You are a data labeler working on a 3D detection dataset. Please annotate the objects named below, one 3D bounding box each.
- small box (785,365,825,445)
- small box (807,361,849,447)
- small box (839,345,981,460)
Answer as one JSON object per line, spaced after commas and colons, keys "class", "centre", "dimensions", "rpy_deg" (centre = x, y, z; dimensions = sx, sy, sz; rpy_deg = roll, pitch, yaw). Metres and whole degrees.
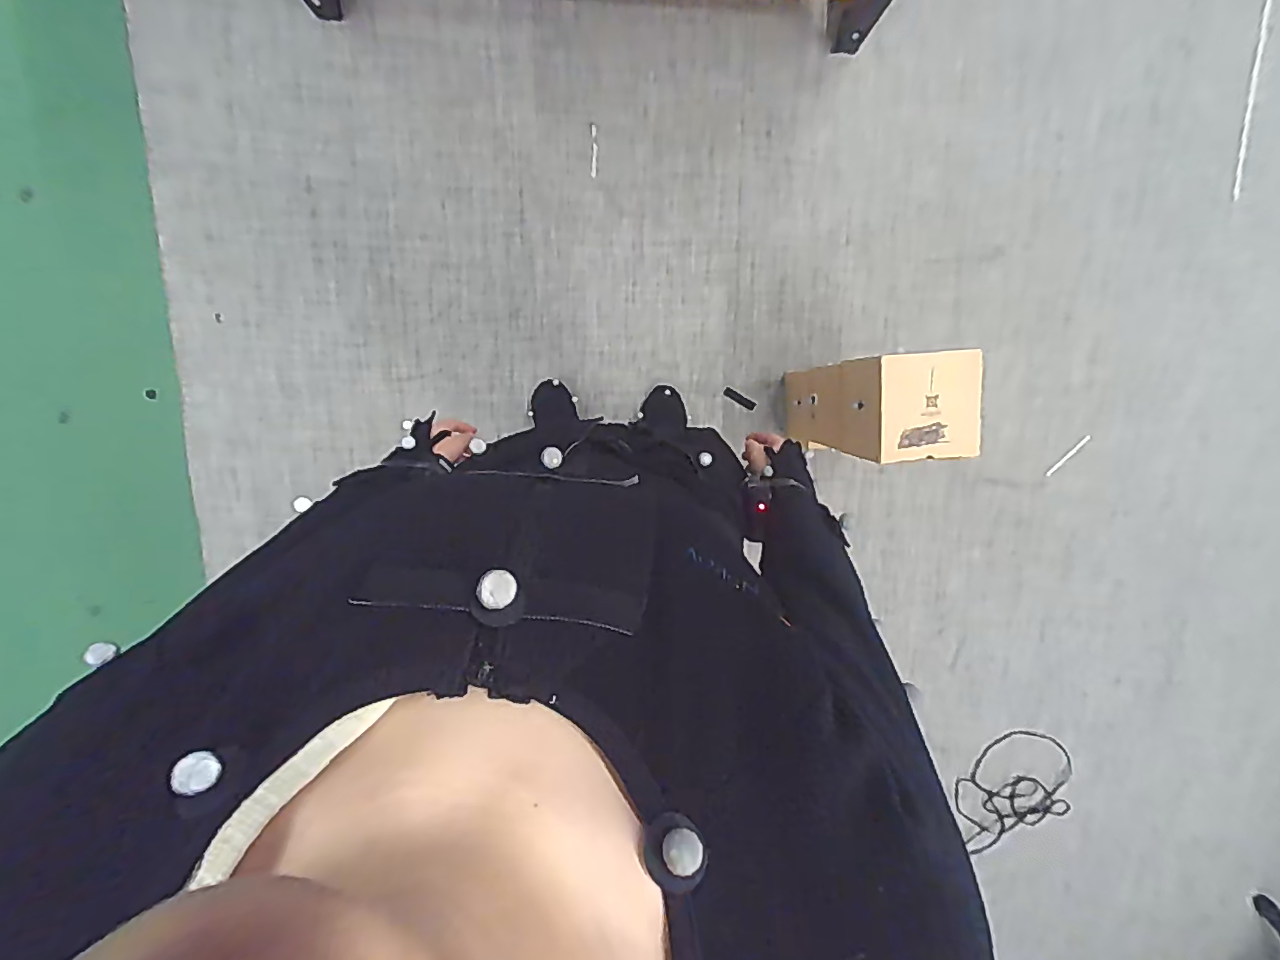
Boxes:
{"class": "small box", "centre": [0.445, -0.181, 1.270], "dimensions": [0.168, 0.176, 0.179], "rpy_deg": [-5, 100, -1]}
{"class": "small box", "centre": [0.456, -0.162, 1.107], "dimensions": [0.179, 0.176, 0.168], "rpy_deg": [-5, 99, 0]}
{"class": "small box", "centre": [0.461, -0.136, 0.945], "dimensions": [0.168, 0.176, 0.179], "rpy_deg": [-4, 99, -1]}
